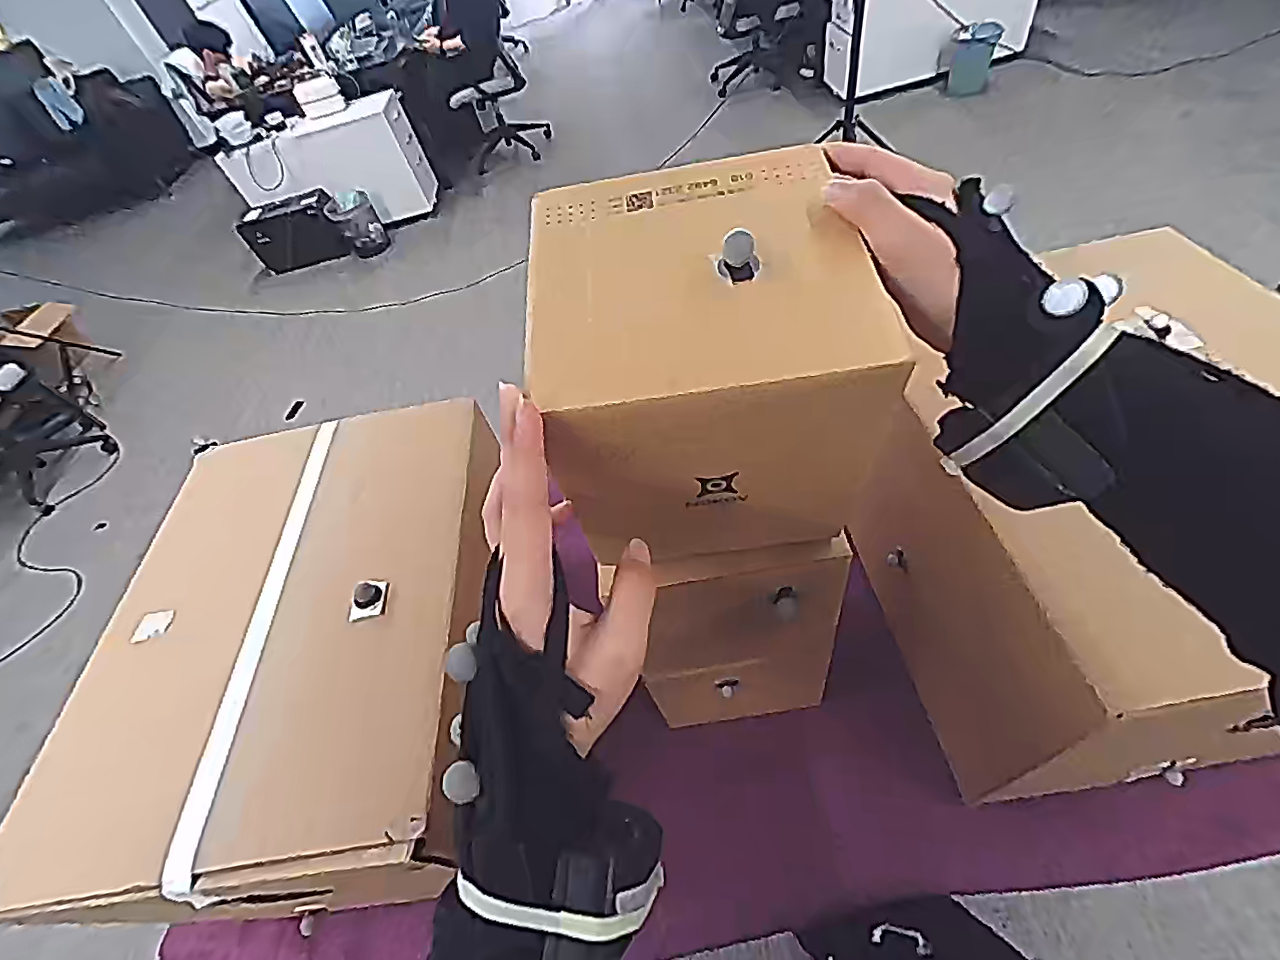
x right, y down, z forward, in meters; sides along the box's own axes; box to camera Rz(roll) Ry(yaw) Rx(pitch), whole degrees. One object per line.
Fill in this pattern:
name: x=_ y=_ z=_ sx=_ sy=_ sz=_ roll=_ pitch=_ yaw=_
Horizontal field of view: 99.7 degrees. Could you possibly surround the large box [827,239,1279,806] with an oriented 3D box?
large box: x=0.407 y=0.037 z=0.523 sx=0.320 sy=0.320 sz=0.408 roll=-12 pitch=49 yaw=3
